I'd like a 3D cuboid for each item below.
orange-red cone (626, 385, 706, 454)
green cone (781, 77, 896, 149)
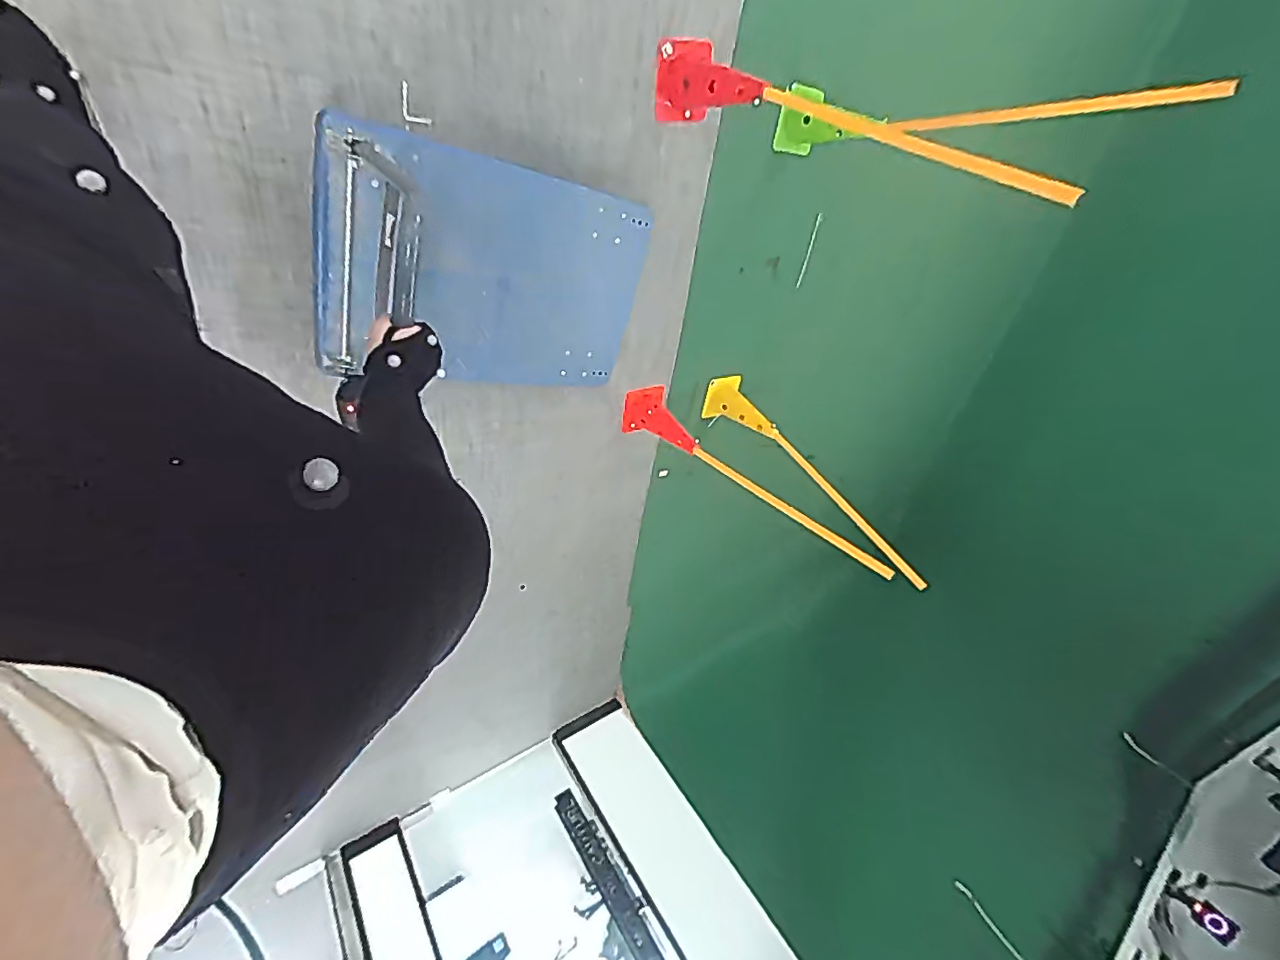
[{"bbox_3d":[0.135,-0.210,2.160,0.199,0.360,0.198,-17,133,-34],"label":"orange-red cone"},{"bbox_3d":[0.682,-1.205,1.805,0.202,0.368,0.200,-17,132,-33],"label":"green cone"}]
